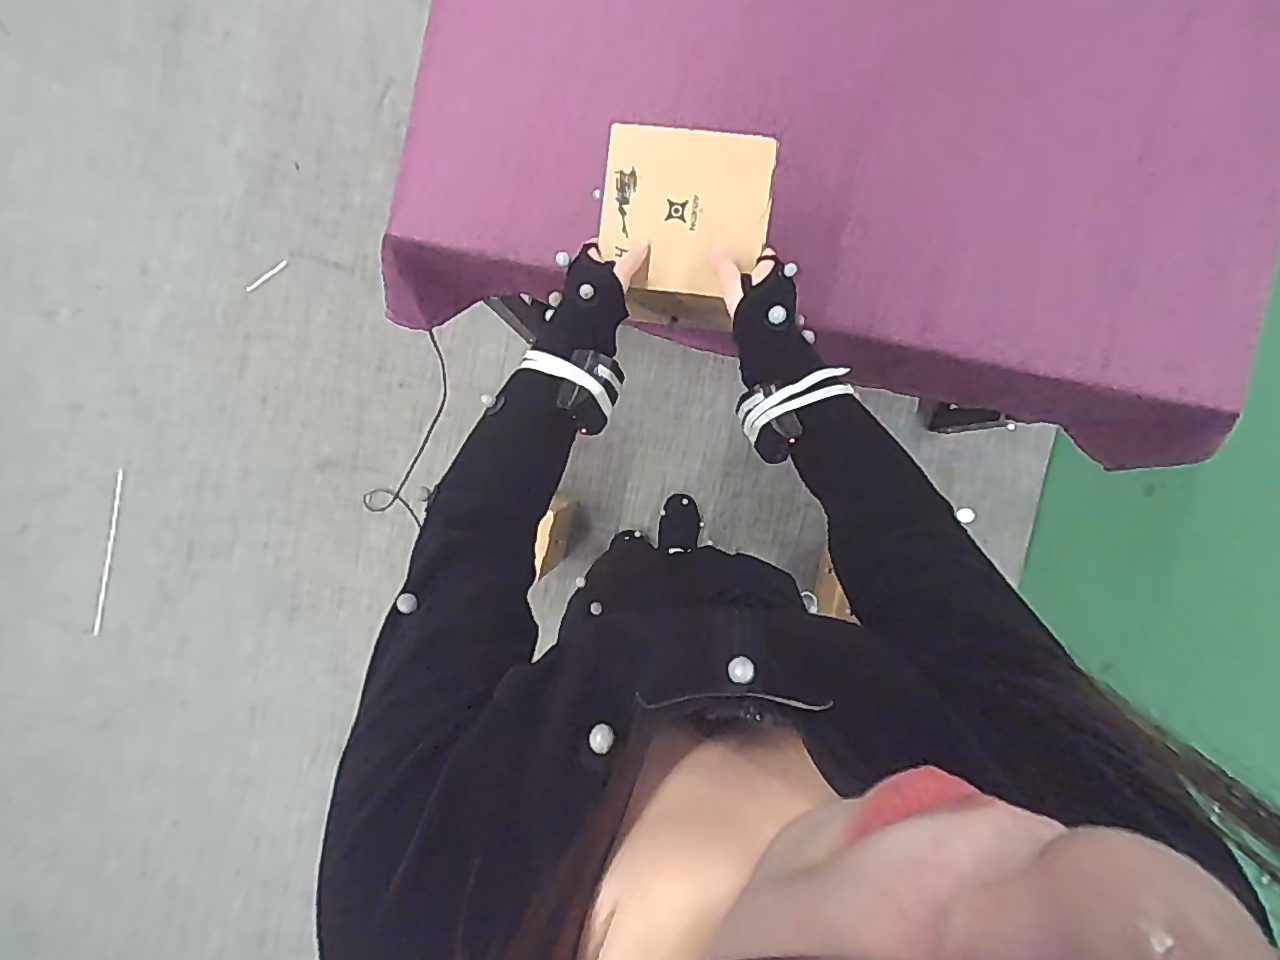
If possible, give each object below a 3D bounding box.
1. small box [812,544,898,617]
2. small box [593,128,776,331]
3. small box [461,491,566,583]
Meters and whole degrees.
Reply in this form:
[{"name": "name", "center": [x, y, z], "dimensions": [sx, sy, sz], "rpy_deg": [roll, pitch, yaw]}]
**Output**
[{"name": "small box", "center": [0.566, 0.268, 1.408], "dimensions": [0.179, 0.176, 0.168], "rpy_deg": [10, 92, 1]}, {"name": "small box", "center": [0.048, -0.282, 0.649], "dimensions": [0.179, 0.176, 0.168], "rpy_deg": [7, 94, 2]}, {"name": "small box", "center": [-0.287, 0.125, 1.261], "dimensions": [0.179, 0.176, 0.168], "rpy_deg": [15, 92, 1]}]
